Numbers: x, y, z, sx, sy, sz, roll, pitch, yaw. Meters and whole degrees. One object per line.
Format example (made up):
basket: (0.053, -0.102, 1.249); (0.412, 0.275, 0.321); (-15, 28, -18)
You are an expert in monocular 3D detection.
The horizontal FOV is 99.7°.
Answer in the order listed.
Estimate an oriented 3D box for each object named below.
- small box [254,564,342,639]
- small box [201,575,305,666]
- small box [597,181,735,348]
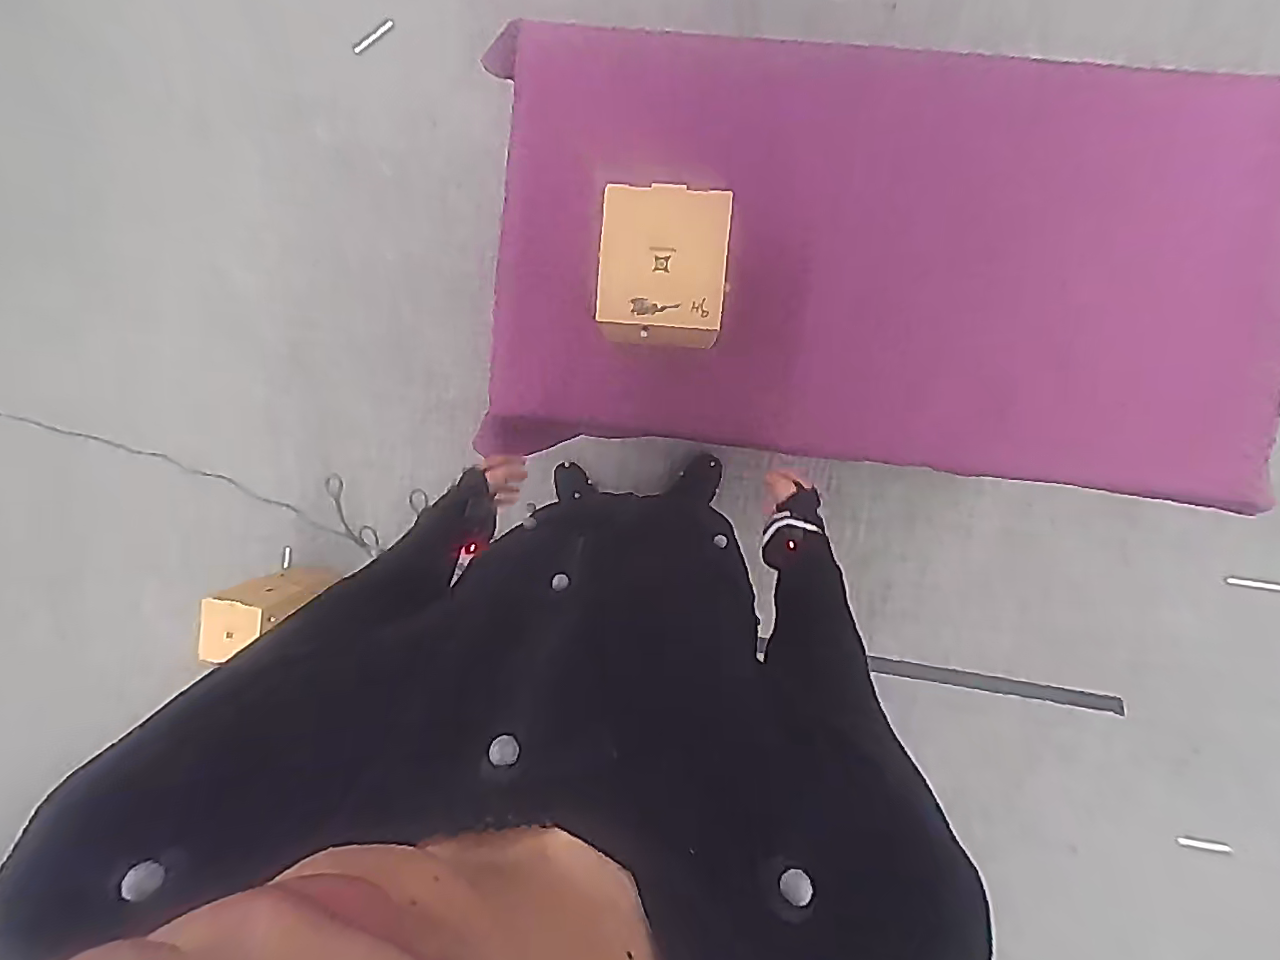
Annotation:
small box: (-1.050, 0.364, 1.652); (0.179, 0.176, 0.168); (9, 97, 3)
small box: (-1.060, 0.381, 1.491); (0.168, 0.176, 0.179); (10, 97, 3)
small box: (0.037, -0.297, 0.777); (0.168, 0.176, 0.179); (6, 96, 3)
